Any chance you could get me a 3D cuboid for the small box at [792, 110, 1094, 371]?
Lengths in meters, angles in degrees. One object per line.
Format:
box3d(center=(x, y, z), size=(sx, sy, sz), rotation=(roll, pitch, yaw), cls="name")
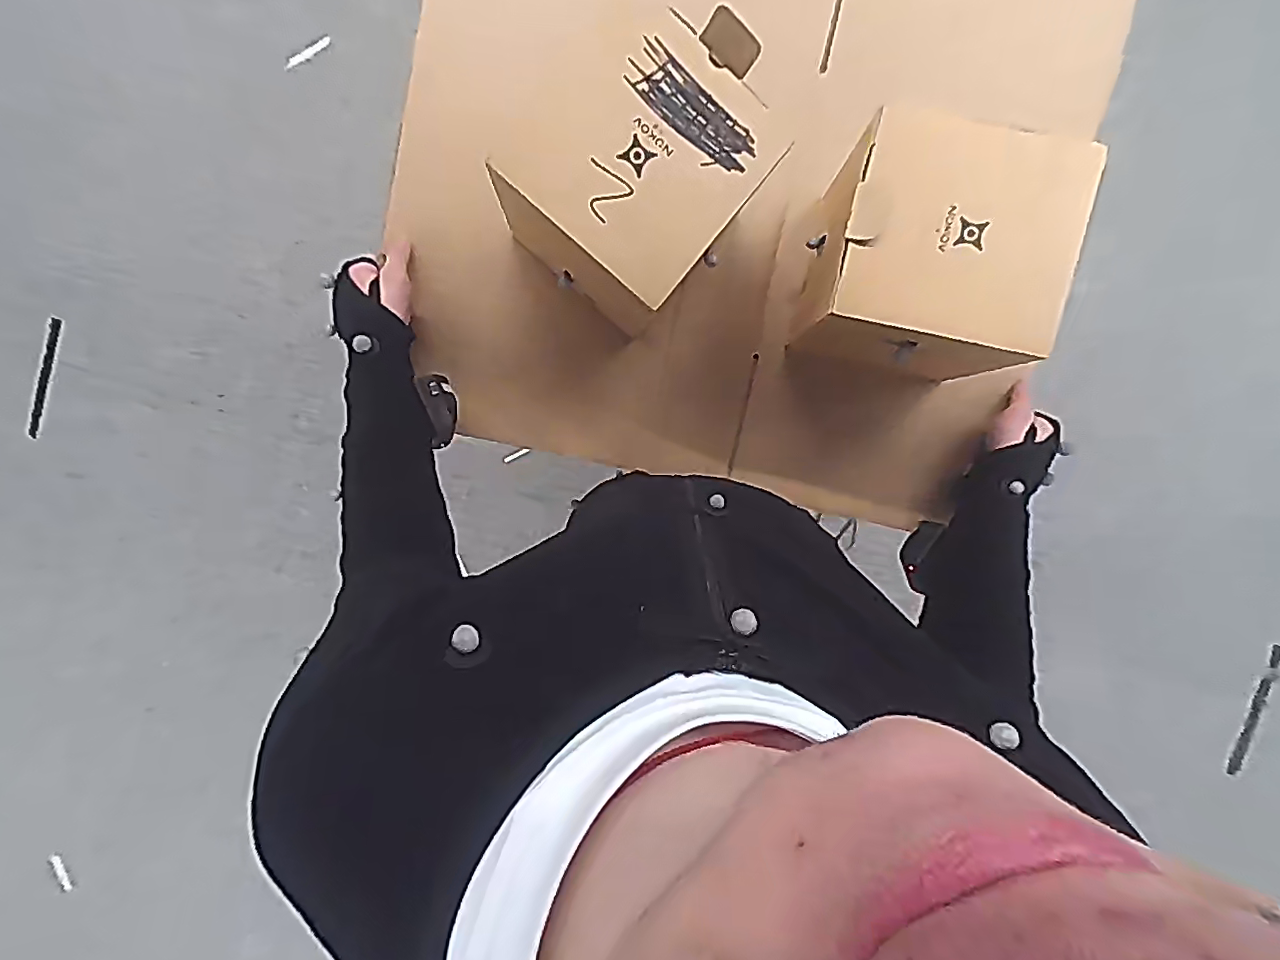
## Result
box3d(center=(0.263, -0.206, 0.515), size=(0.179, 0.176, 0.168), rotation=(12, 95, 3), cls="small box")
